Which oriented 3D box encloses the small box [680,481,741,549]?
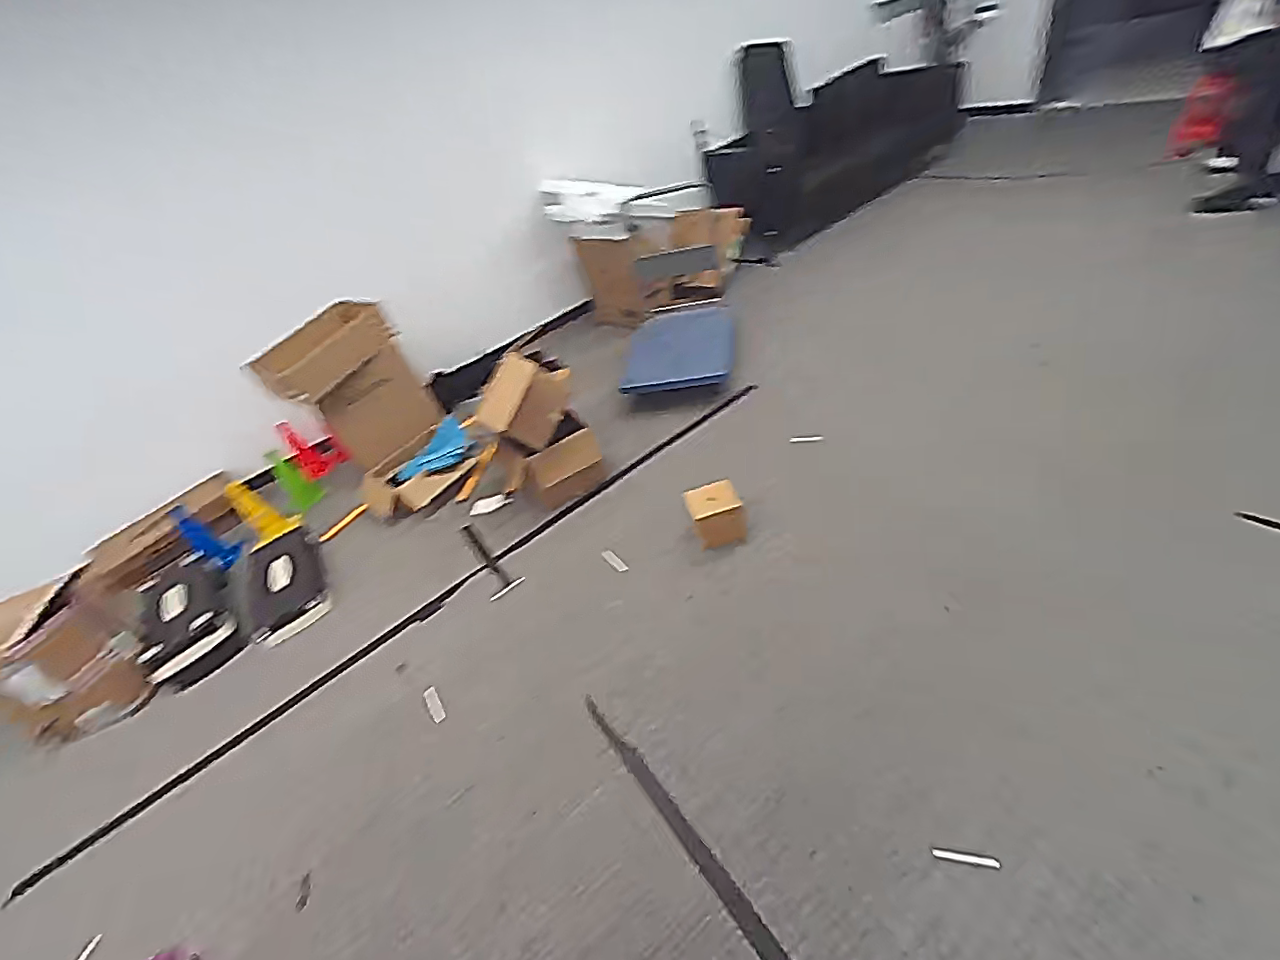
[{"bbox_3d":[0.272,0.139,2.078,0.179,0.176,0.168,-18,37,-1],"label":"small box"}]
